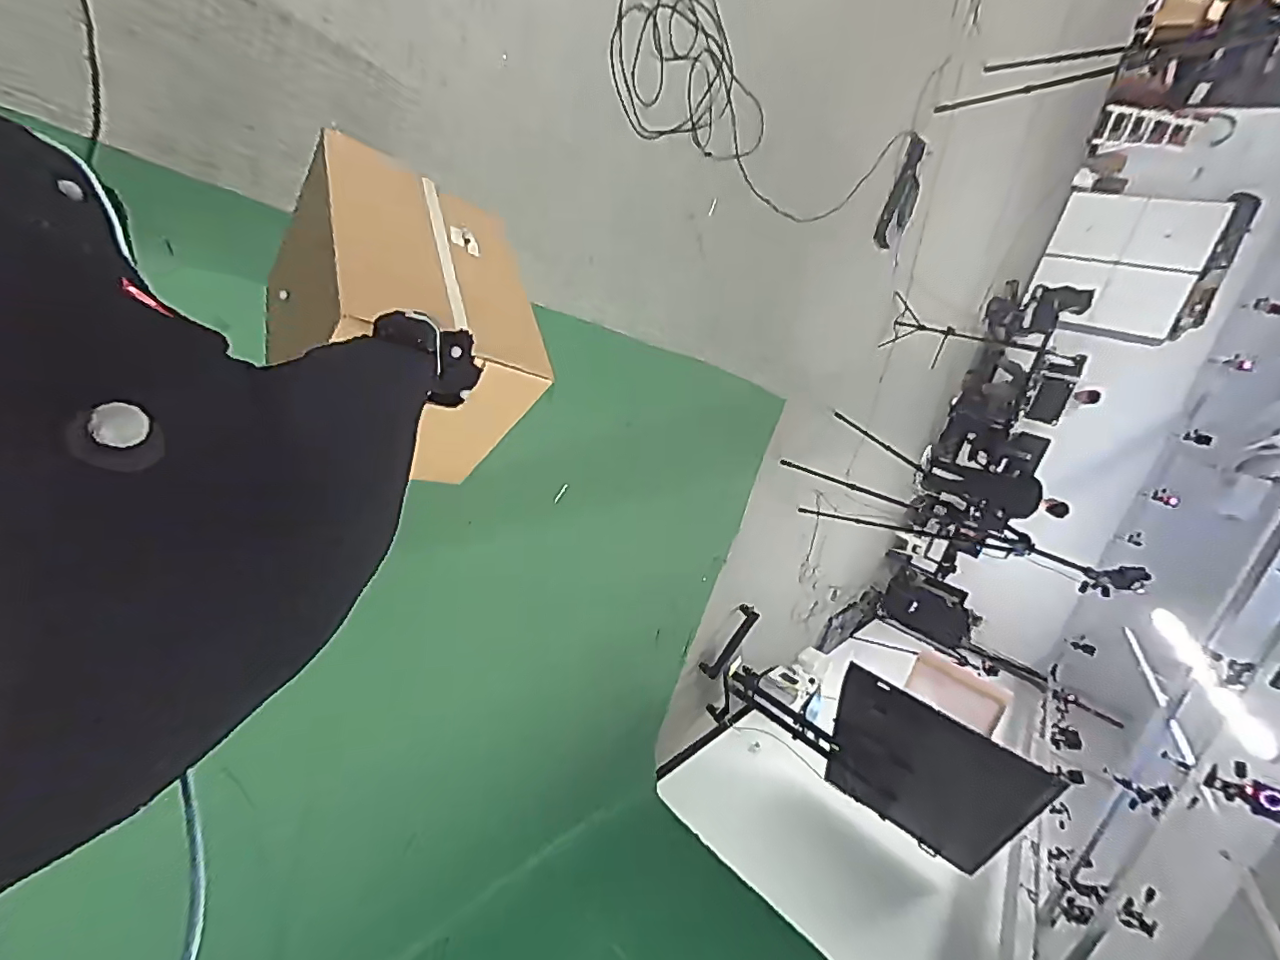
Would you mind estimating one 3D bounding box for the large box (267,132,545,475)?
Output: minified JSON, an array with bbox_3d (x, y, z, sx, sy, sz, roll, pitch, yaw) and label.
[{"bbox_3d":[-0.413,-0.264,0.919,0.320,0.408,0.320,11,140,-46],"label":"large box"}]
